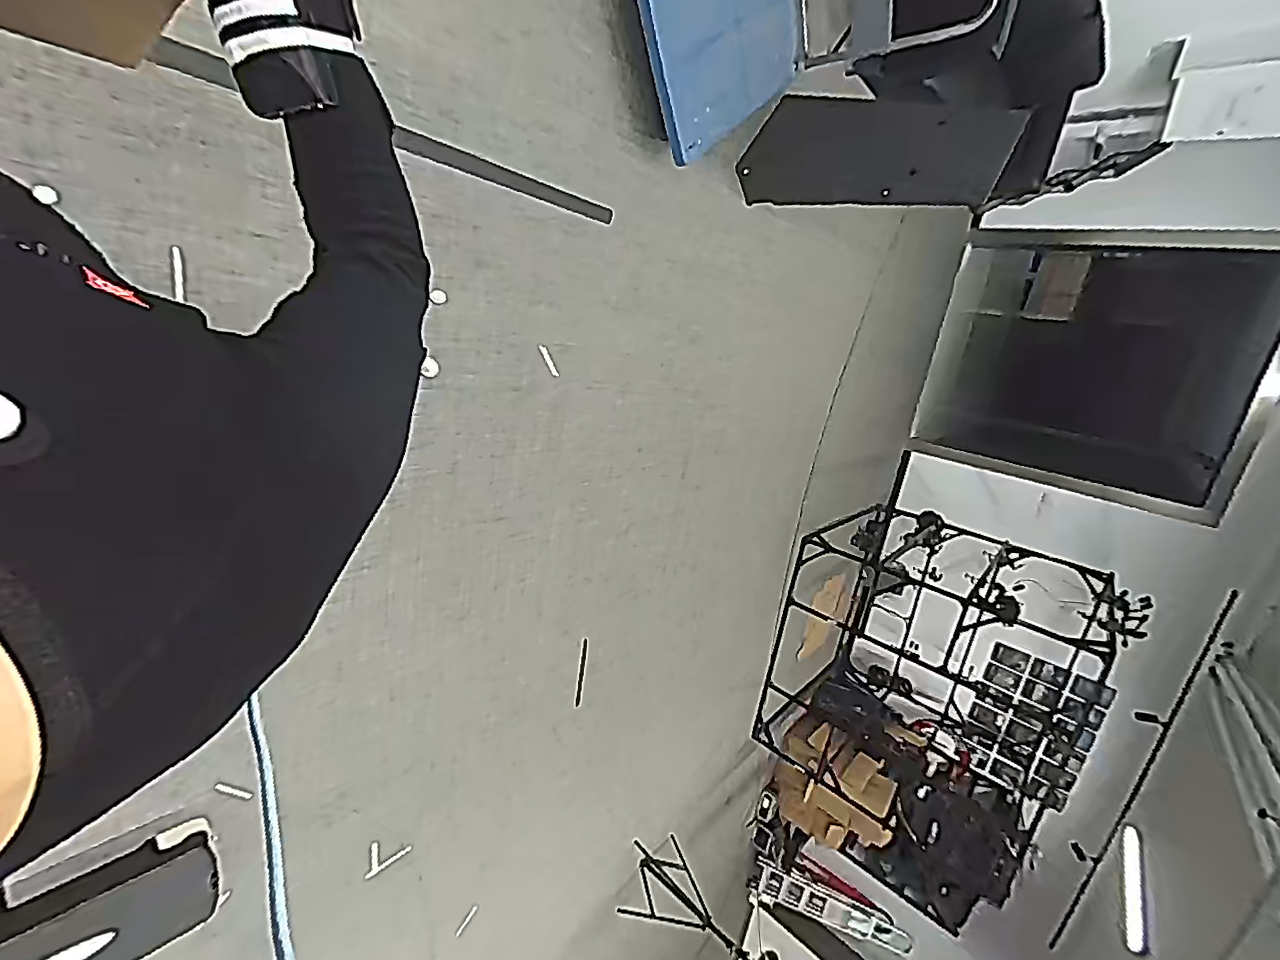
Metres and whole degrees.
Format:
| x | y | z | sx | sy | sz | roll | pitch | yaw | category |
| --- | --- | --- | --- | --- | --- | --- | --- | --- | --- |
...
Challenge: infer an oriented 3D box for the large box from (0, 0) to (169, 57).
| x | y | z | sx | sy | sz | roll | pitch | yaw | category |
| --- | --- | --- | --- | --- | --- | --- | --- | --- | --- |
| -0.485 | -0.470 | 0.229 | 0.408 | 0.320 | 0.320 | -13 | 115 | -48 | large box |
